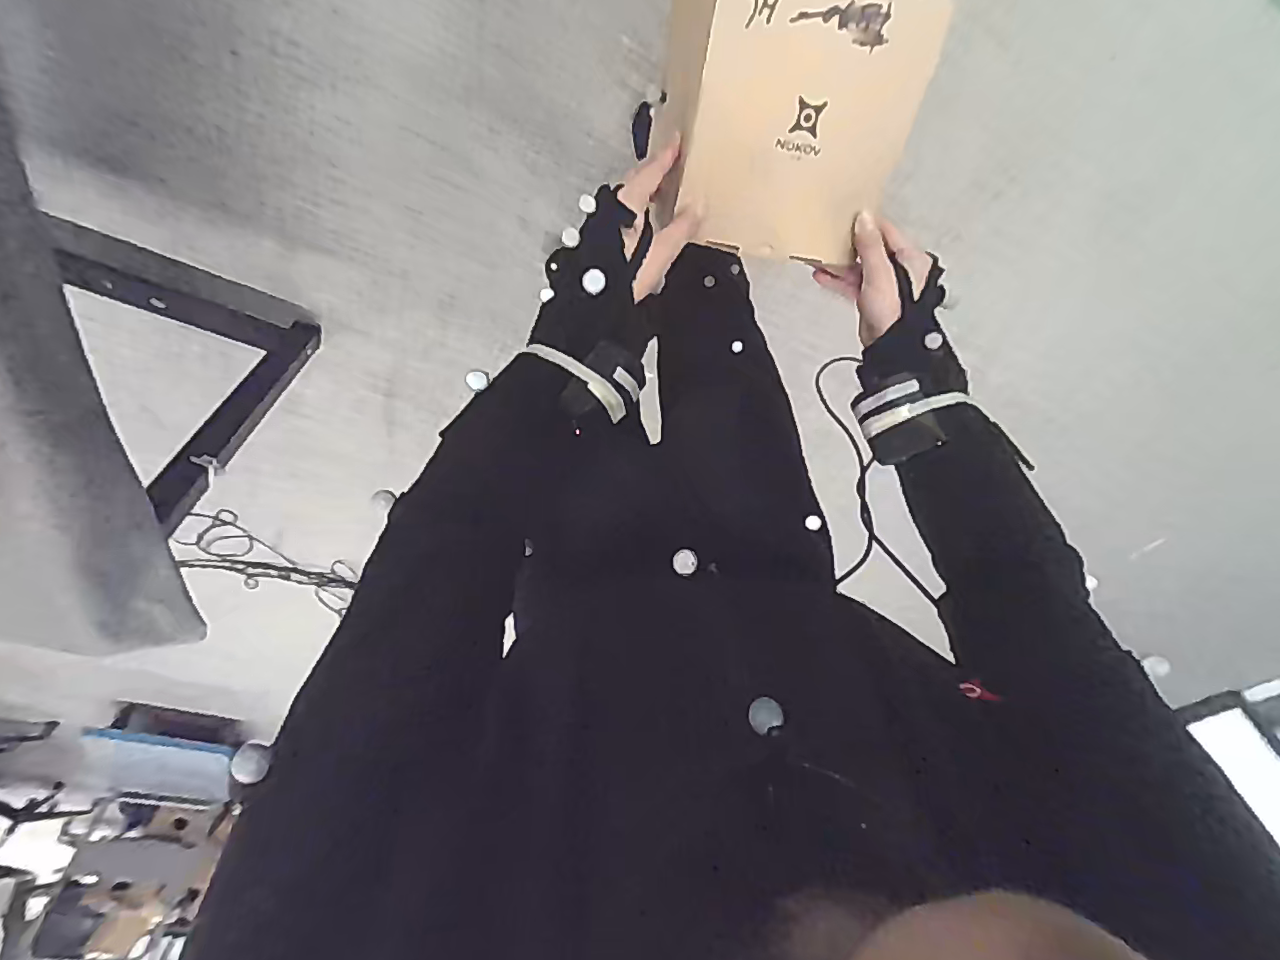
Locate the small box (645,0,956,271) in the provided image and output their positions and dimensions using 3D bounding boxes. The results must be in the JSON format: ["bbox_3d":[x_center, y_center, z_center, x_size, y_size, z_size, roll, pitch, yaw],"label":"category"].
[{"bbox_3d":[0.103,-0.298,0.445,0.168,0.176,0.179,3,129,-12],"label":"small box"}]
